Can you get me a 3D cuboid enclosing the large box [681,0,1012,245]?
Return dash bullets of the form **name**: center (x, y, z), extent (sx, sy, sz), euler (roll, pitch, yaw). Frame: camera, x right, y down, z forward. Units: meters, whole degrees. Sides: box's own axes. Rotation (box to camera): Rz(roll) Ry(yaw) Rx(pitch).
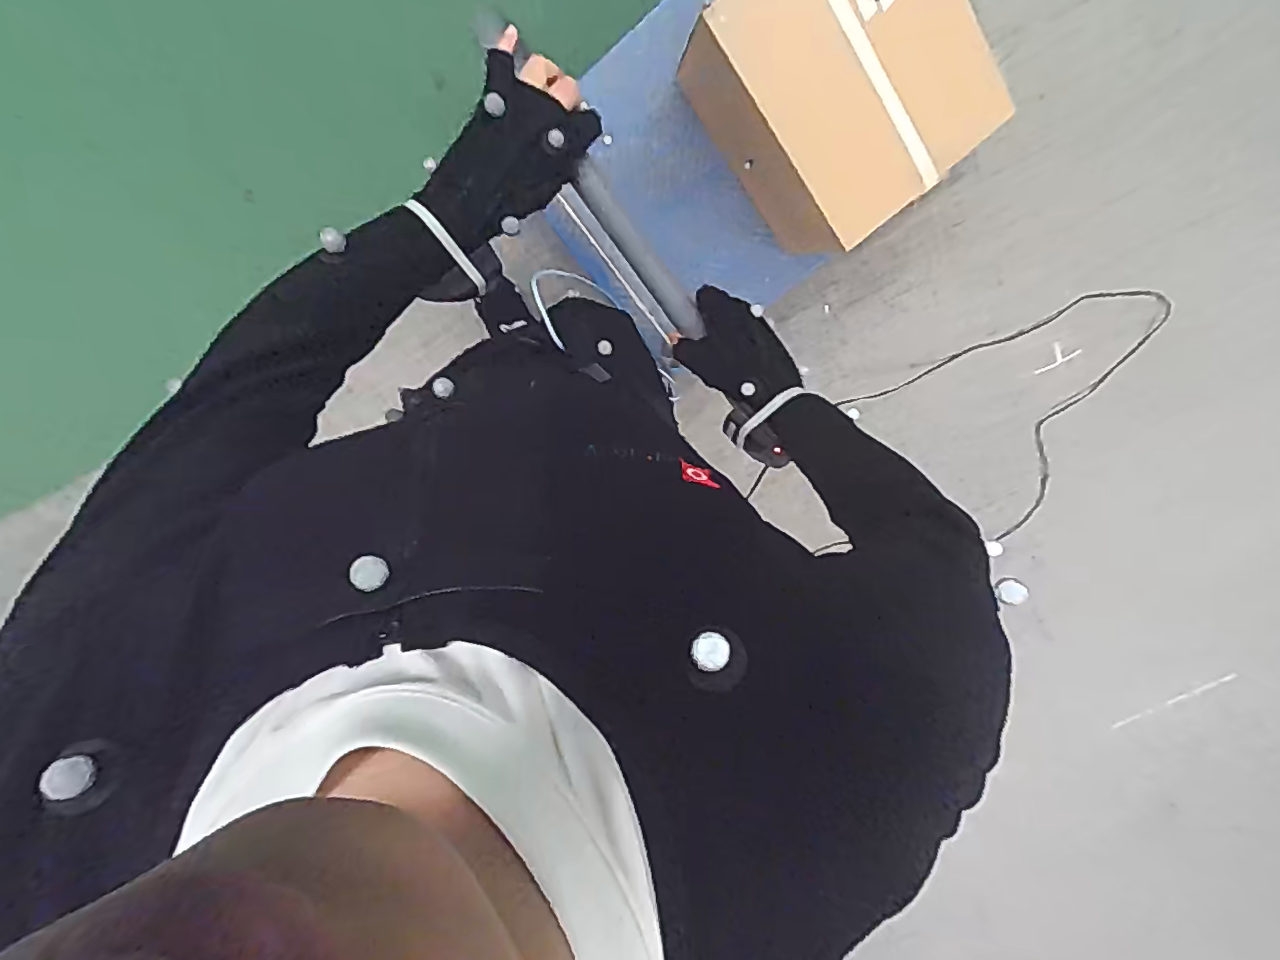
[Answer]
- **large box**: center (0.323, -0.673, 0.934), extent (0.320, 0.320, 0.408), euler (-39, 109, 11)
